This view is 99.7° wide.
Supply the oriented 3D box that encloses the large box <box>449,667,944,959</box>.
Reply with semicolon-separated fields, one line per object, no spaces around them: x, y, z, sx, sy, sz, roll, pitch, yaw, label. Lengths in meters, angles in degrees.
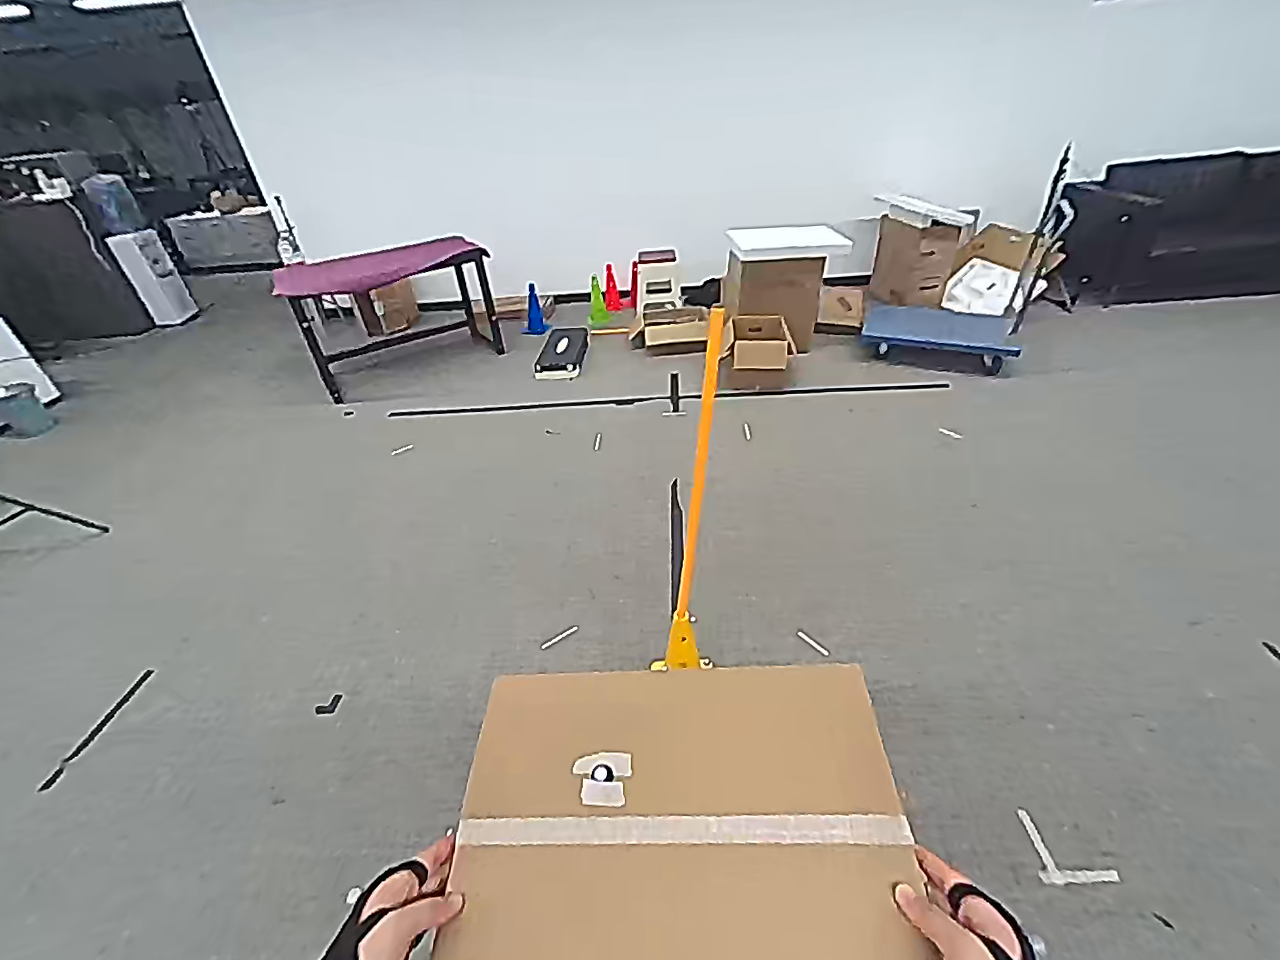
0.060;0.435;0.595;0.408;0.320;0.320;-6;42;7;large box
